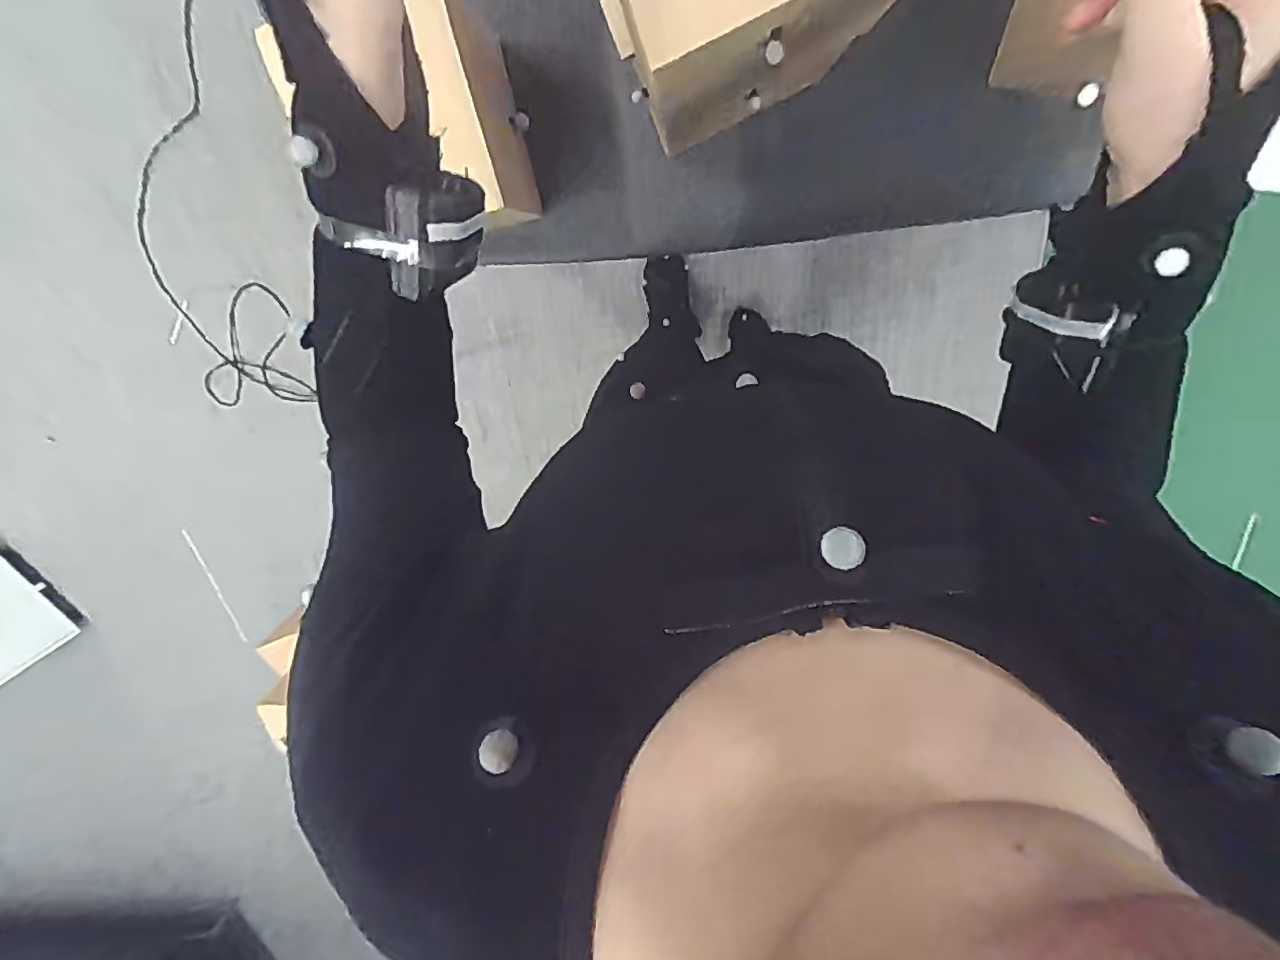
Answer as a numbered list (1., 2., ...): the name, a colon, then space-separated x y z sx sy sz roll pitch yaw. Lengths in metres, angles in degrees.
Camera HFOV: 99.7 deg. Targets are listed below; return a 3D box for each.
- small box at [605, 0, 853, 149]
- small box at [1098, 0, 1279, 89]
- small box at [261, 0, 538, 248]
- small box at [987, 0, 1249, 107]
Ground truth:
1. small box: 0.065 -0.432 0.491 0.179 0.176 0.168 -21 111 12
2. small box: 0.428 -0.357 0.312 0.179 0.176 0.168 -6 112 8
3. small box: -0.220 -0.345 0.549 0.168 0.176 0.179 -10 112 9
4. small box: 0.435 -0.445 0.452 0.168 0.176 0.179 10 114 1
